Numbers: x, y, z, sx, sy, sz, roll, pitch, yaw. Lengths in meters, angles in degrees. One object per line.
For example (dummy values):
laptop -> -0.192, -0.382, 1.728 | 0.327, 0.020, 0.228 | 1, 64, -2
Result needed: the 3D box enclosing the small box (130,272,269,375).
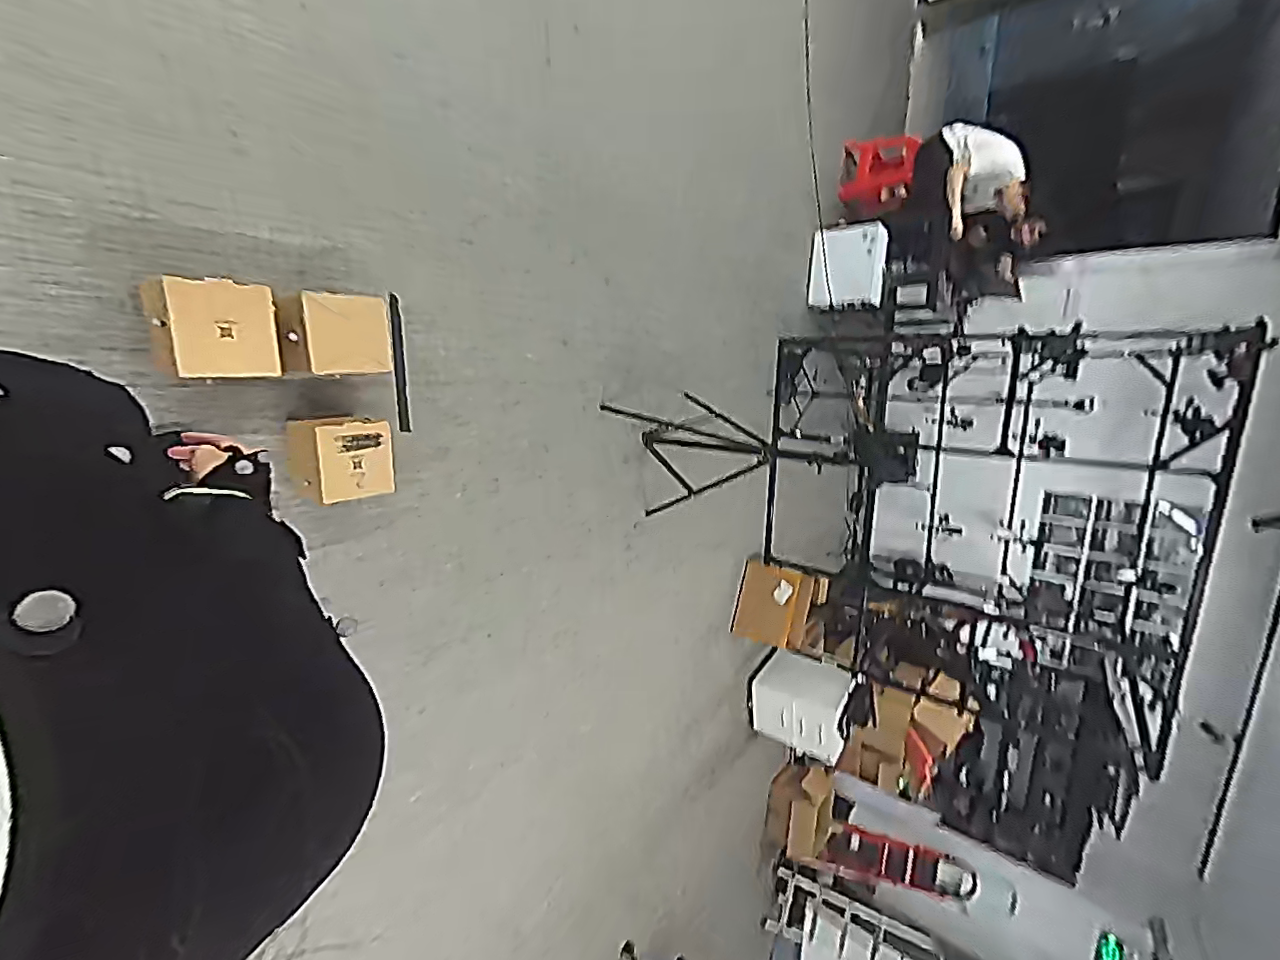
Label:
small box -> -0.856, -0.297, 1.054 | 0.168, 0.176, 0.179 | -15, 109, -52
